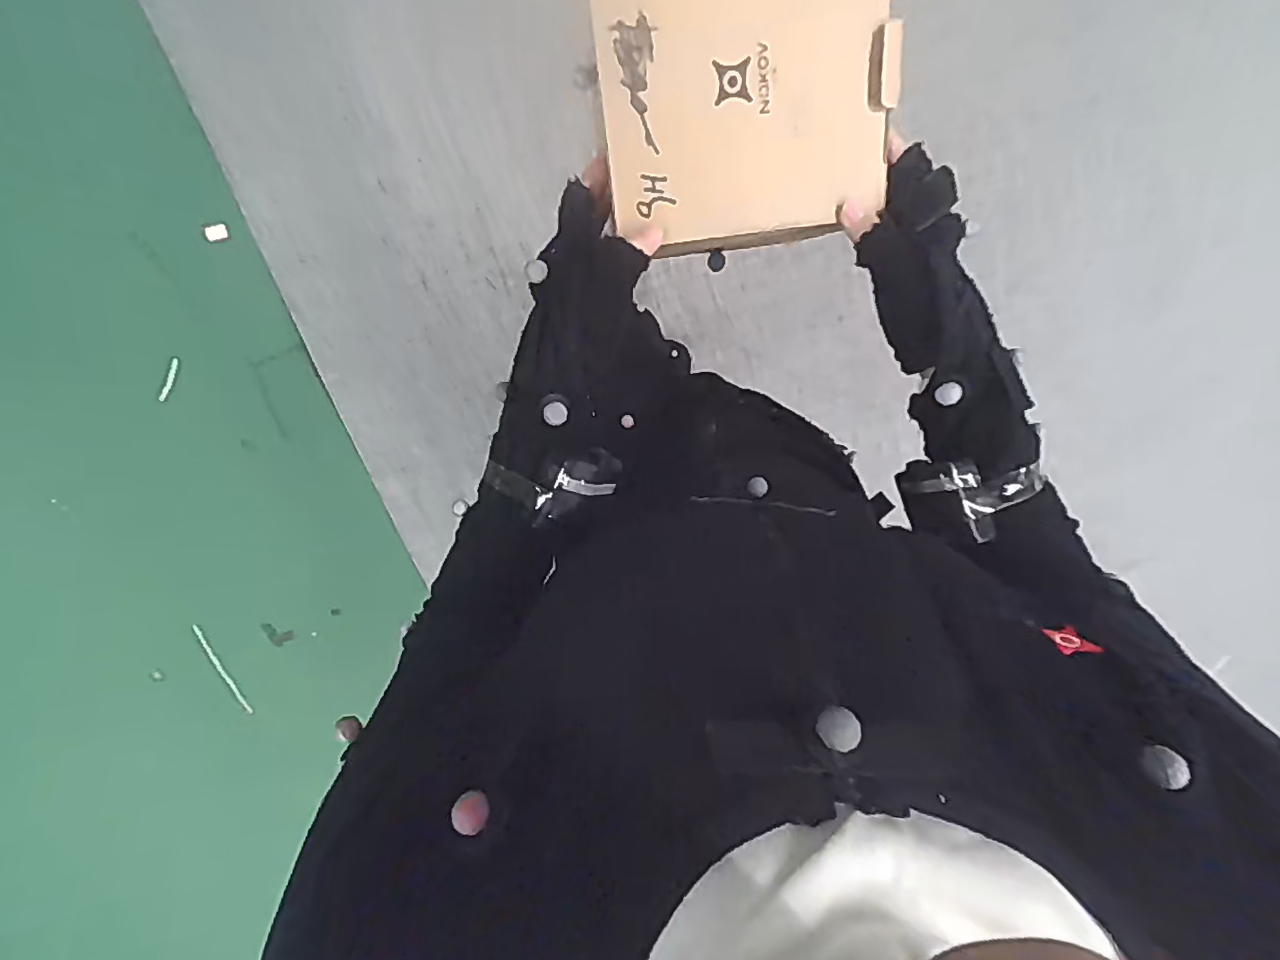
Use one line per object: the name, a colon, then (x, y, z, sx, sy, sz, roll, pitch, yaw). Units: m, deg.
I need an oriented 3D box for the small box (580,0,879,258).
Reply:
small box: (0.050, -0.262, 0.397, 0.179, 0.176, 0.168, -6, 108, -2)
